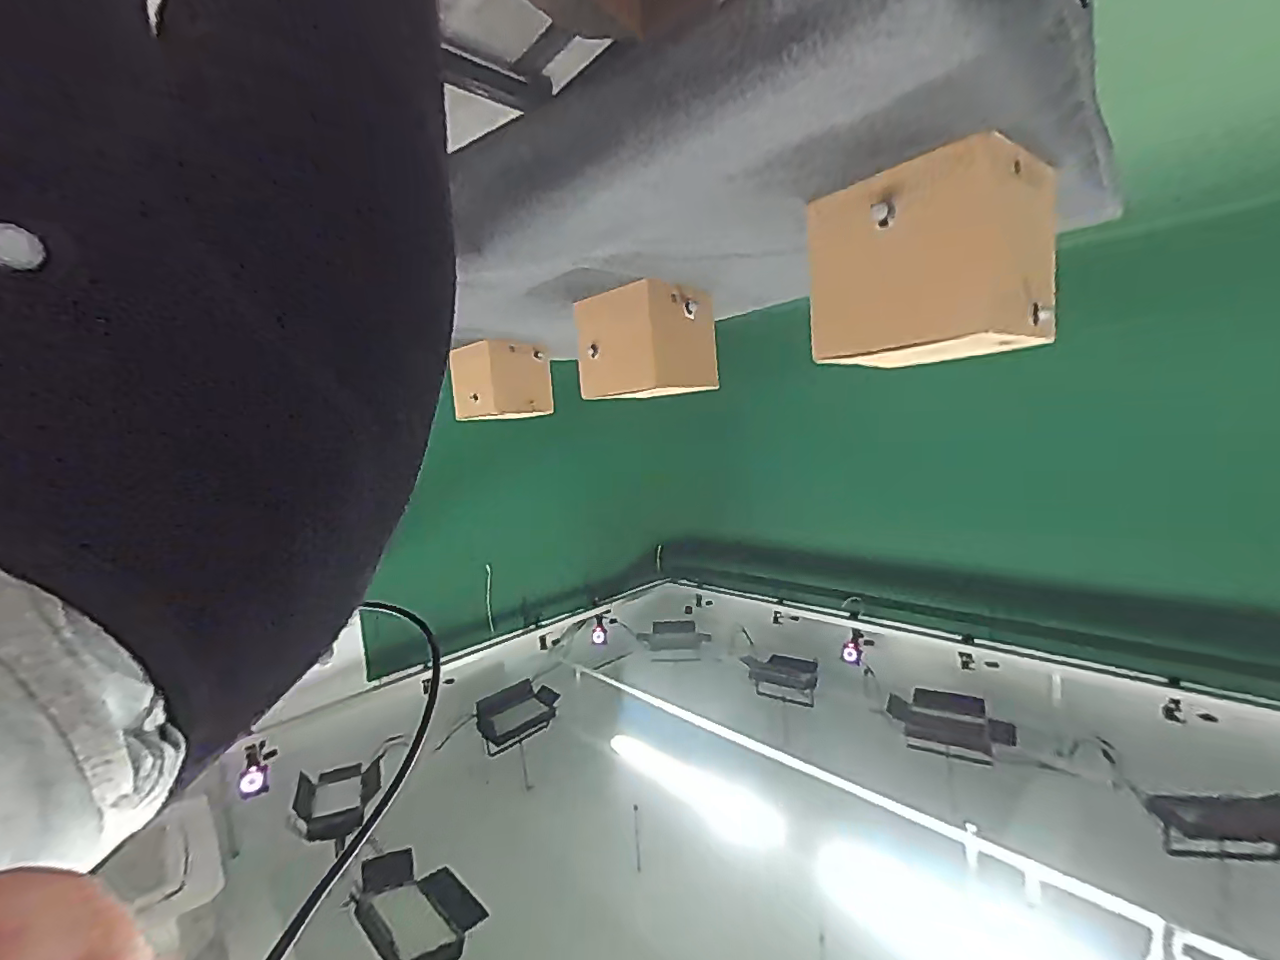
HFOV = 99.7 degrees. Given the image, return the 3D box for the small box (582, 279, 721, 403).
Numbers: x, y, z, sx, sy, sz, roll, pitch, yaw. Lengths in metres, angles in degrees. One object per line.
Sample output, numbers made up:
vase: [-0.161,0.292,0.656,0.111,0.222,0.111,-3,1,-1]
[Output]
small box: [0.017,-0.226,0.916,0.179,0.176,0.168,-2,-173,45]

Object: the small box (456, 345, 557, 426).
small box: [-0.322,-0.223,1.287,0.179,0.176,0.168,0,-173,43]

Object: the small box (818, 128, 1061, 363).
small box: [0.303,-0.217,0.553,0.168,0.176,0.179,-9,-172,-37]
